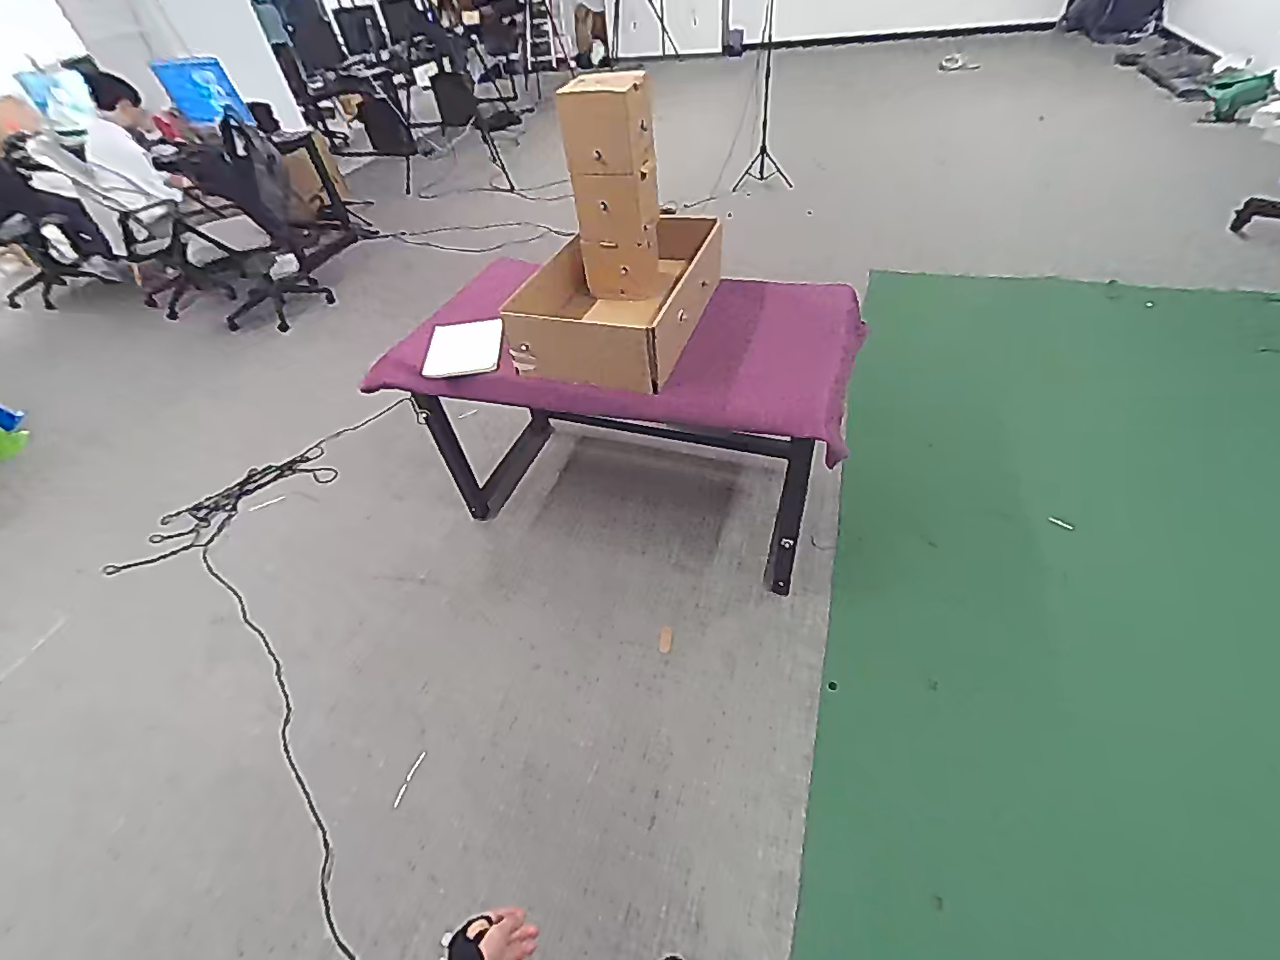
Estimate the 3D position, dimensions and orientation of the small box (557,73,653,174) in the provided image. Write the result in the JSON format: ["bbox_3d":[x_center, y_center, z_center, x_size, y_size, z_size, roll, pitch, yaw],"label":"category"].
[{"bbox_3d":[-0.074,-0.852,1.297,0.179,0.176,0.168,12,49,16],"label":"small box"}]

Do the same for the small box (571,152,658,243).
[{"bbox_3d":[-0.057,-0.737,1.413,0.179,0.176,0.168,9,49,16],"label":"small box"}]
